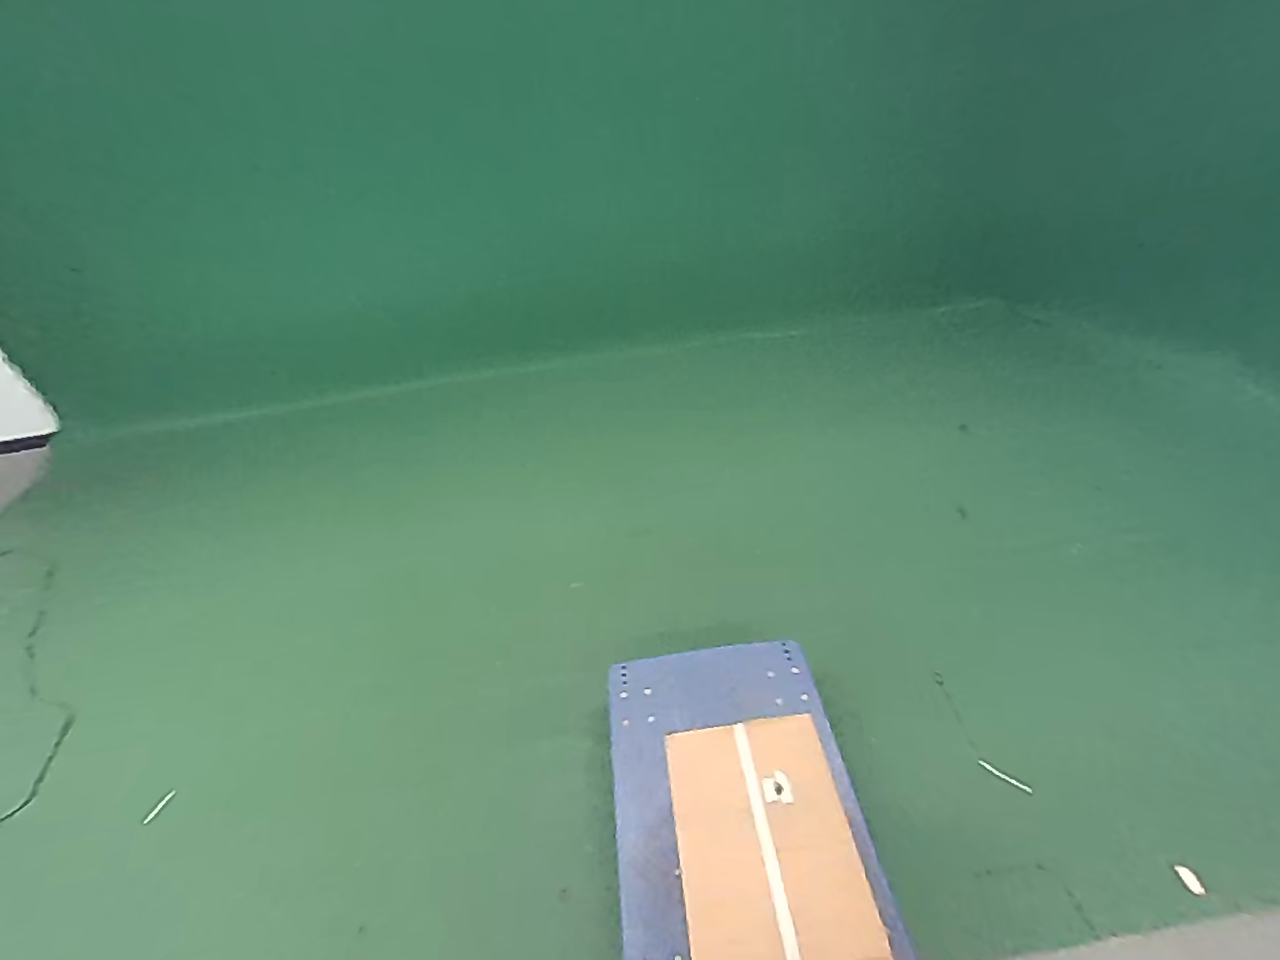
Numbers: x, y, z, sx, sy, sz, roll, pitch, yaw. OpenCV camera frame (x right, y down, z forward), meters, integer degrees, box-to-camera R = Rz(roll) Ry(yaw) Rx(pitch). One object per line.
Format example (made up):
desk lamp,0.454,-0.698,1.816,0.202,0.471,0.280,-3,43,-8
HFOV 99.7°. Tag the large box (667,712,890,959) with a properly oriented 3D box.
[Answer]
large box,0.243,0.749,1.084,0.320,0.320,0.408,-7,39,0
